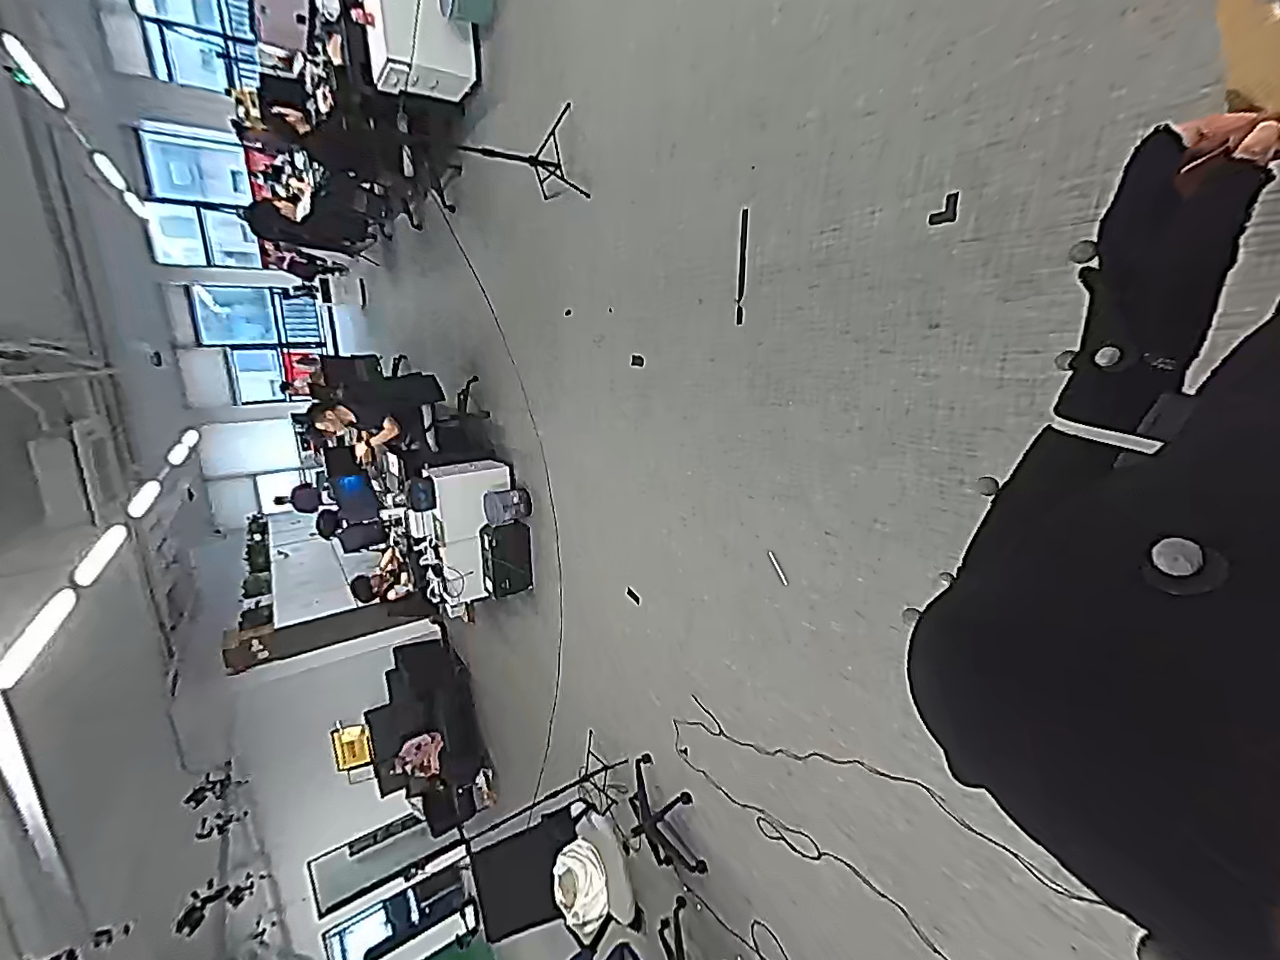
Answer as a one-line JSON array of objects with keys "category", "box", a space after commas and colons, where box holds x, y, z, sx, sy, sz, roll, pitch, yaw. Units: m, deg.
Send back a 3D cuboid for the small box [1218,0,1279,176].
[{"category": "small box", "box": [0.403, -0.266, 0.224, 0.168, 0.179, 0.176, -51, -52, -76]}]
